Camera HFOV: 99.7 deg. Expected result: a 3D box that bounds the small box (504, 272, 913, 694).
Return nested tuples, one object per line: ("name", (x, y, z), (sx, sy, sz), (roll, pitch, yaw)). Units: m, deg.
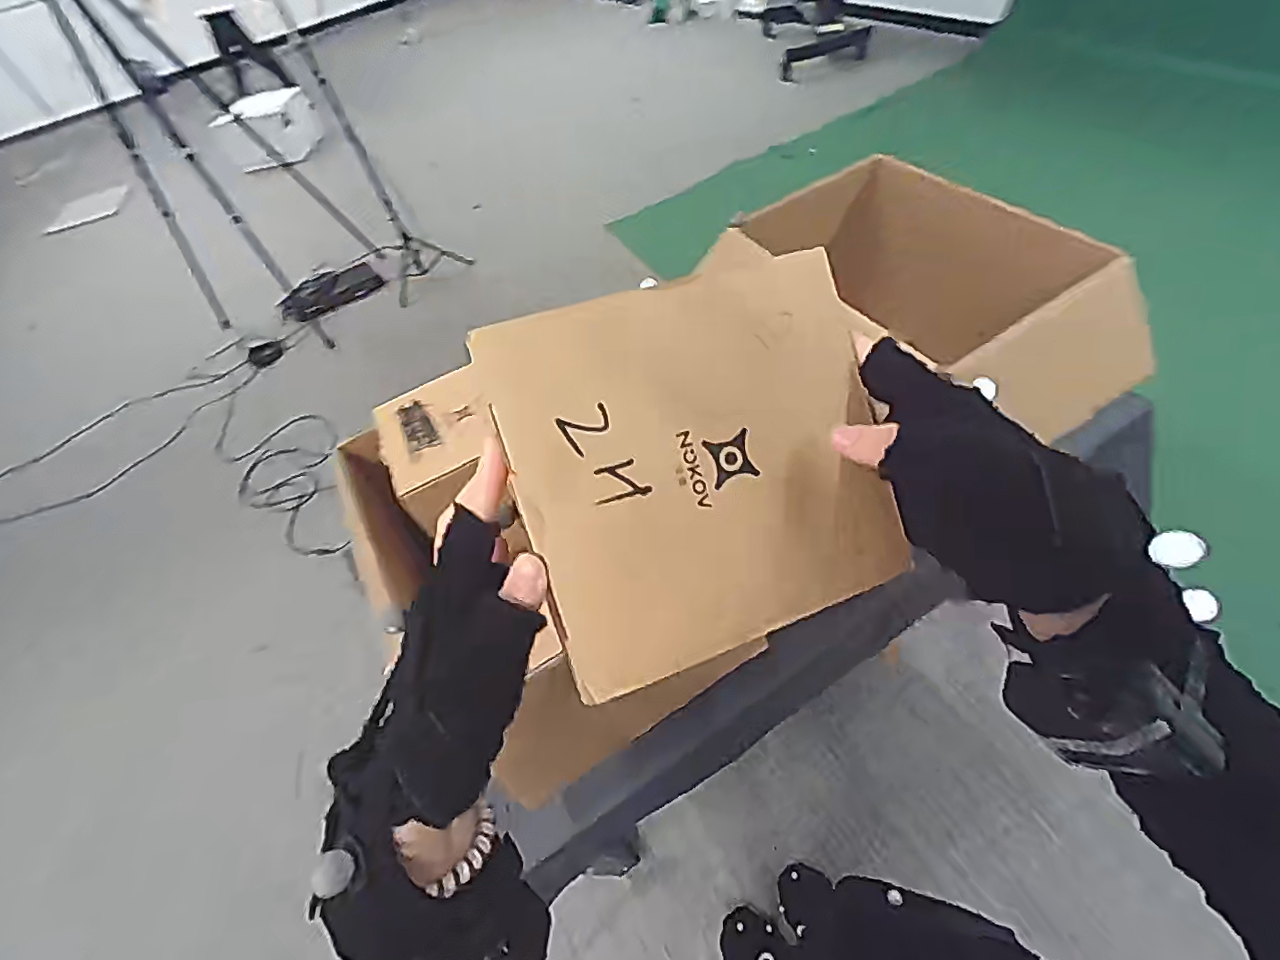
("small box", (0.021, -0.004, 0.331), (0.179, 0.176, 0.168), (-16, 92, -14))
